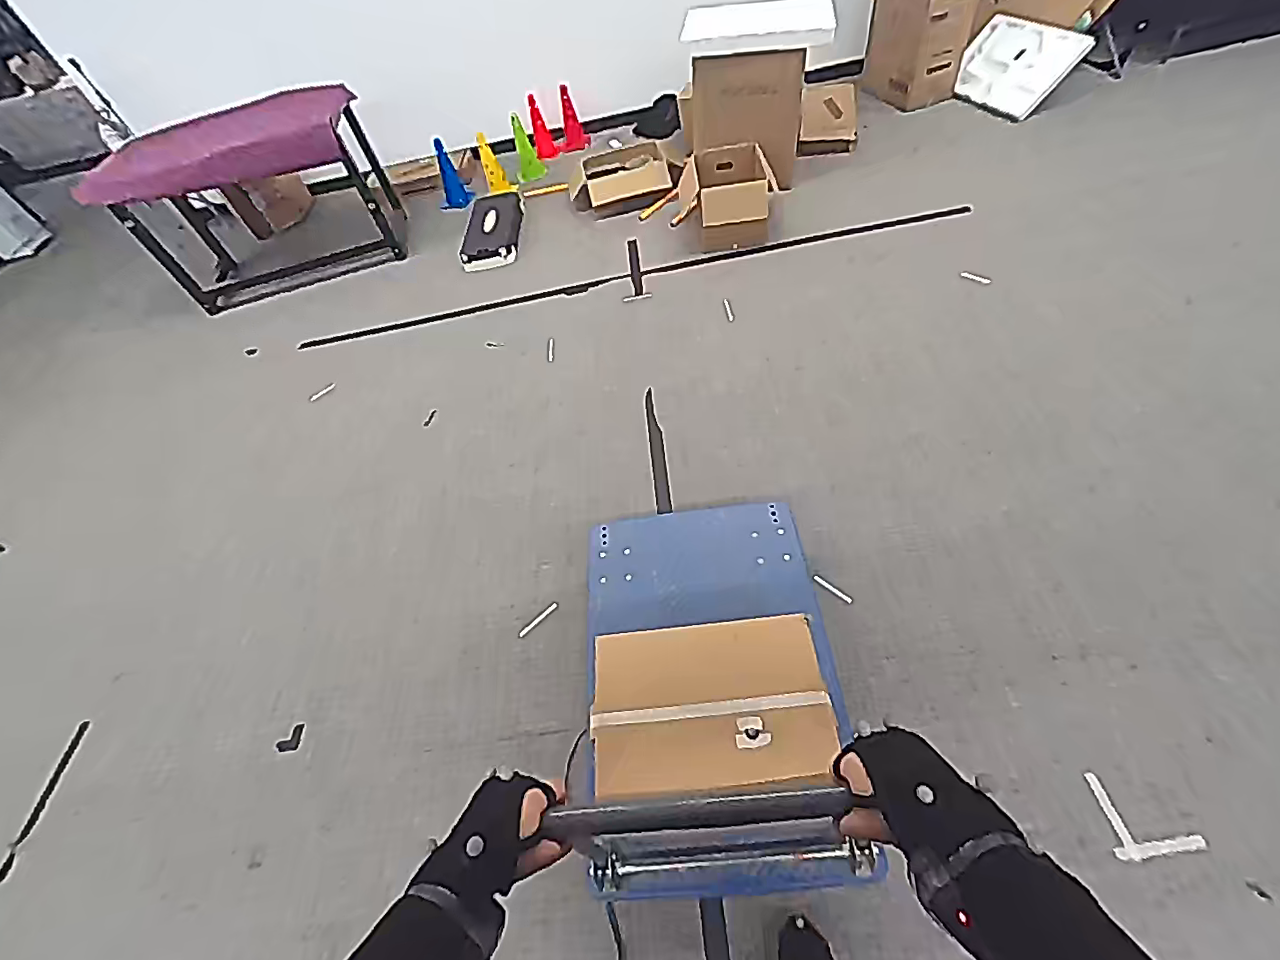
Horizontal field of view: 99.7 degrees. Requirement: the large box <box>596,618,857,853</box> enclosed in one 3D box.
[{"bbox_3d":[0.143,0.494,1.031,0.408,0.320,0.320,-8,51,4],"label":"large box"}]
